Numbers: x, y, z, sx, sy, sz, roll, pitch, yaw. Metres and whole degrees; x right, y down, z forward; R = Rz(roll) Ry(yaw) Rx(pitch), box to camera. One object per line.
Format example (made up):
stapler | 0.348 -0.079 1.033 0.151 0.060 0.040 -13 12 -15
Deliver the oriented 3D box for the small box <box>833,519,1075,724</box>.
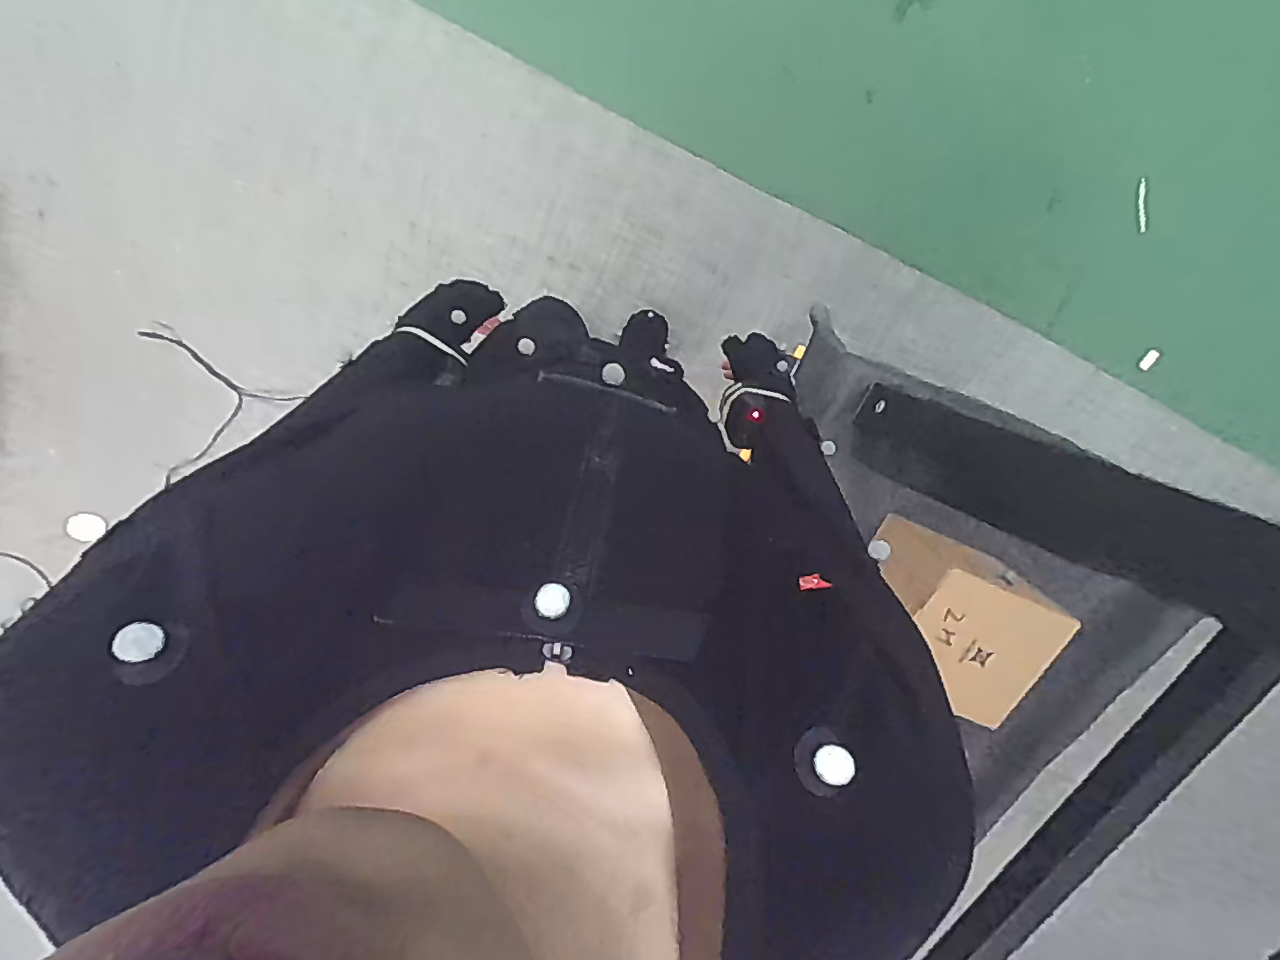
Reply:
small box | 0.388 0.172 0.705 0.179 0.176 0.168 23 106 -6
